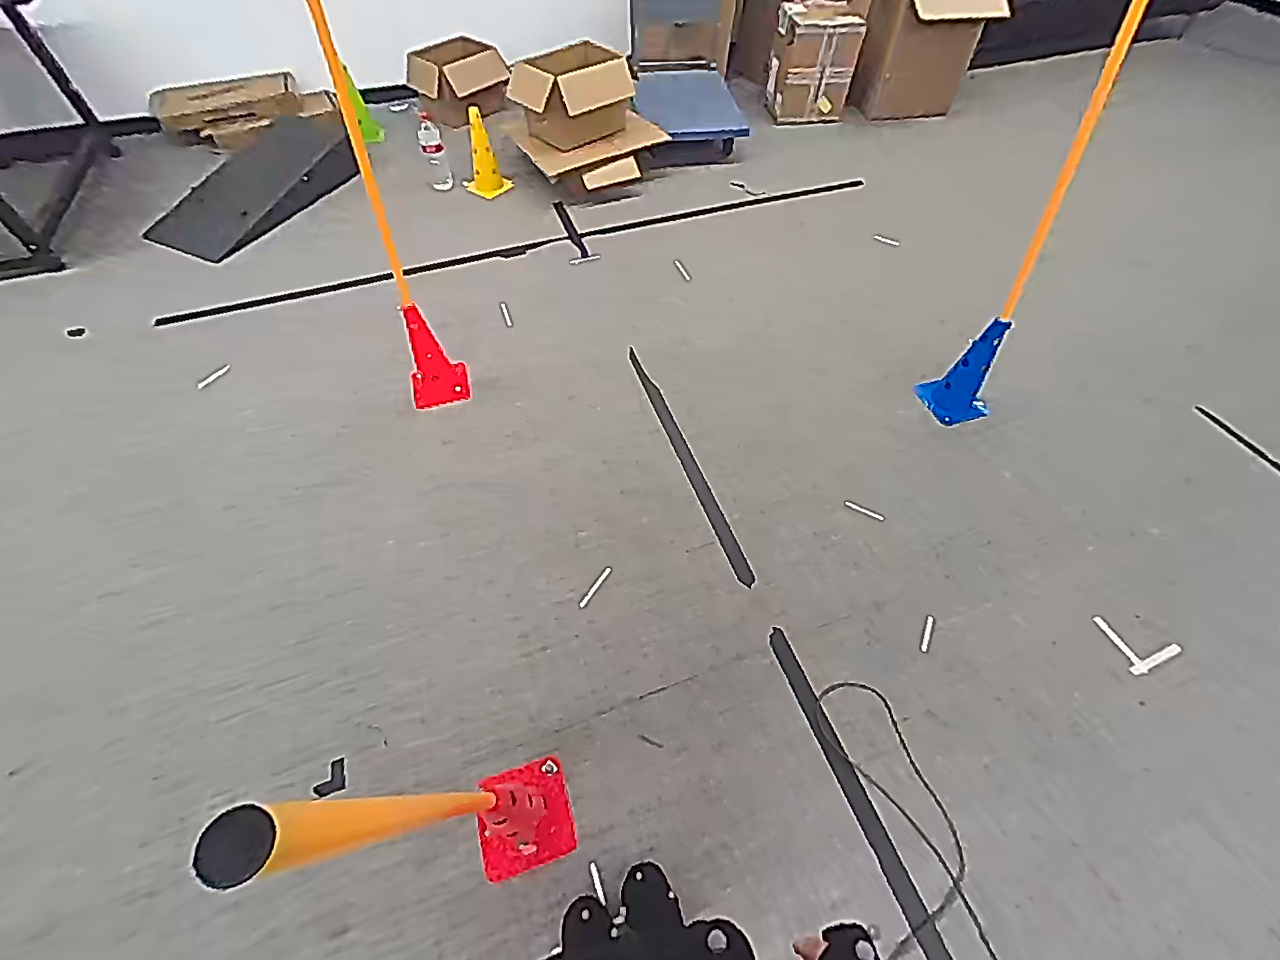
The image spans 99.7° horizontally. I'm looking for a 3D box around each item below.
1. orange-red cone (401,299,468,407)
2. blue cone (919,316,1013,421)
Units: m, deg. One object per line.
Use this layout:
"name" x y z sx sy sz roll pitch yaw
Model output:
"orange-red cone" -0.726 -0.448 1.815 0.198 0.360 0.199 -13 55 -10
"blue cone" 1.119 -0.390 1.807 0.193 0.380 0.192 -14 56 -9
